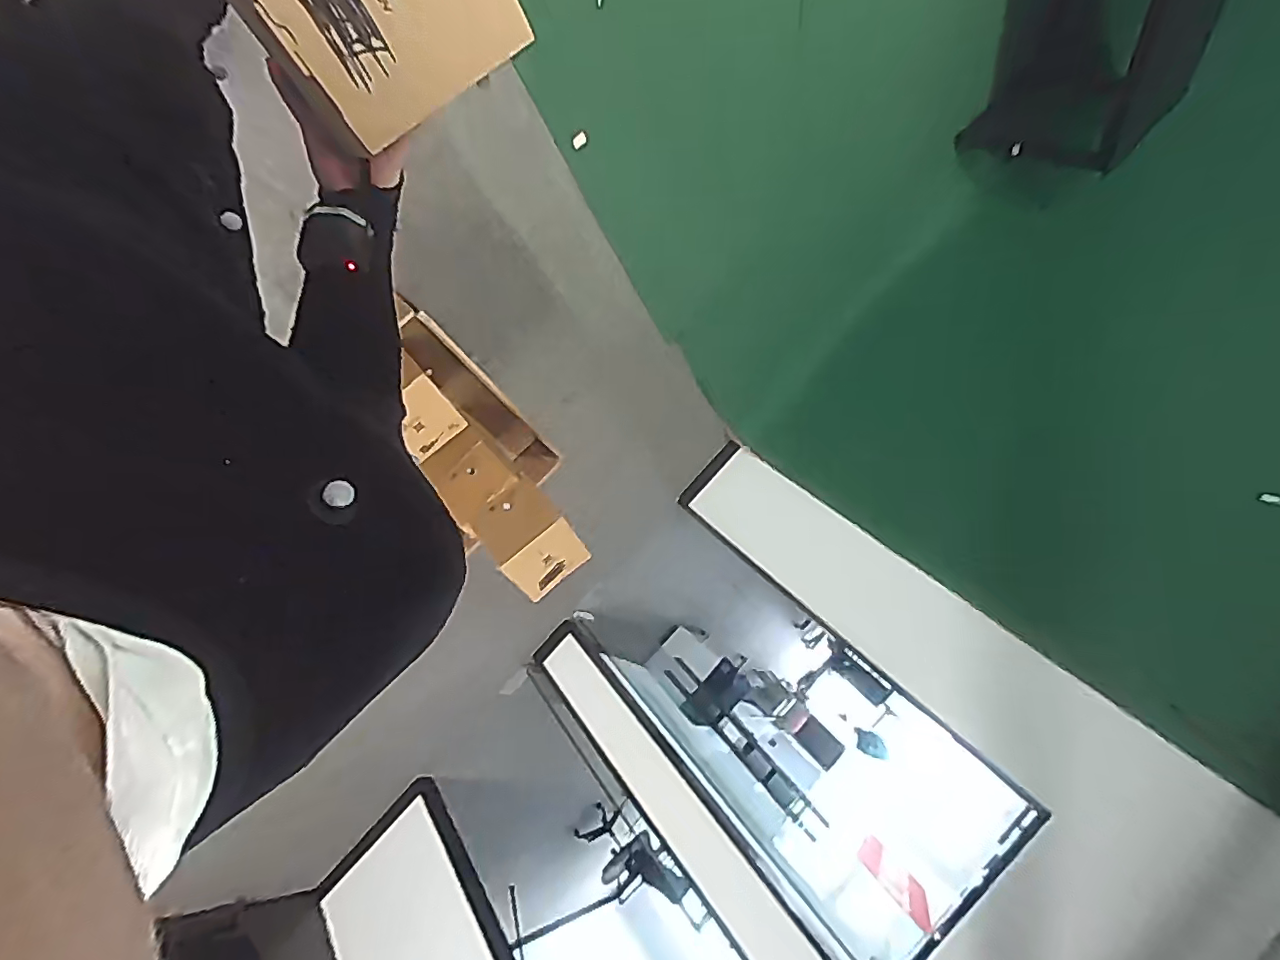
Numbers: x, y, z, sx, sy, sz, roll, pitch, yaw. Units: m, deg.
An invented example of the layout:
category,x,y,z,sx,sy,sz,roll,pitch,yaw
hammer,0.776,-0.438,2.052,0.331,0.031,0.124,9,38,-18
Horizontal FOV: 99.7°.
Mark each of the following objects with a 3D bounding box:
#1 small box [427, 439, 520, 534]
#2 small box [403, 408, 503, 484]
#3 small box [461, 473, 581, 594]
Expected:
category,x,y,z,sx,sy,sz,roll,pitch,yaw
small box,-0.371,0.030,1.300,0.168,0.176,0.179,-46,144,-4
small box,-0.470,-0.056,1.396,0.168,0.176,0.179,-46,144,-5
small box,-0.265,0.117,1.209,0.168,0.176,0.179,-40,143,-12
